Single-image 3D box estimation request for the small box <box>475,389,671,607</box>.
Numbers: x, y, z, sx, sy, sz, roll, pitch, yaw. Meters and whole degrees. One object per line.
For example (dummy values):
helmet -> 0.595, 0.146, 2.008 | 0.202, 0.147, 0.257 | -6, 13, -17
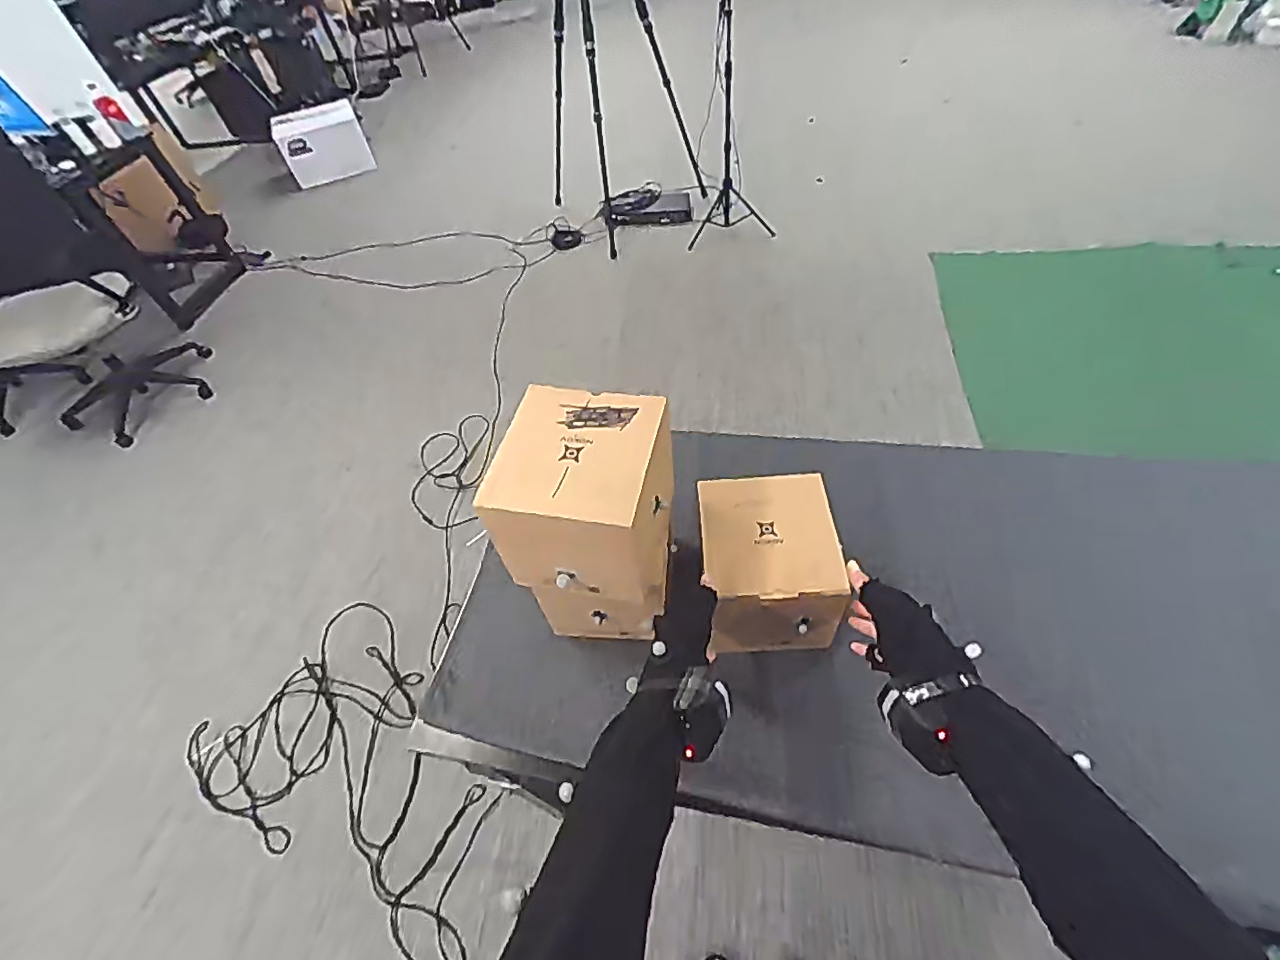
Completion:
small box -> -0.059, 0.021, 0.624 | 0.168, 0.176, 0.179 | 7, 53, 12
